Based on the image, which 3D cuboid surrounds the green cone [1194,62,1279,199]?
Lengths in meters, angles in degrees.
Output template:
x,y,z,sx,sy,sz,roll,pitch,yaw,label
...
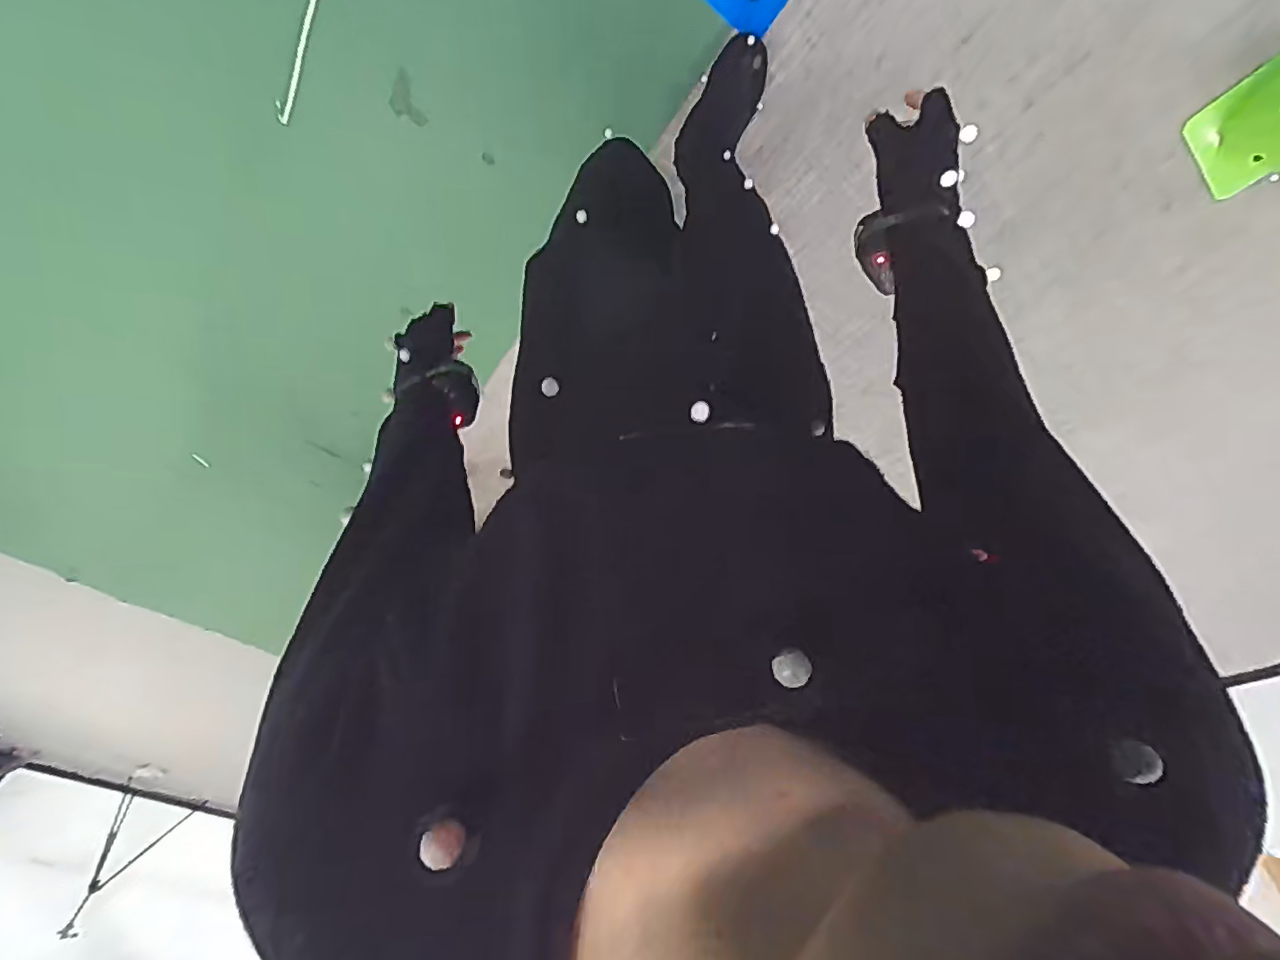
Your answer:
x,y,z,sx,sy,sz,roll,pitch,yaw,label
1.101,-0.509,0.829,0.202,0.368,0.200,32,132,-22,green cone
